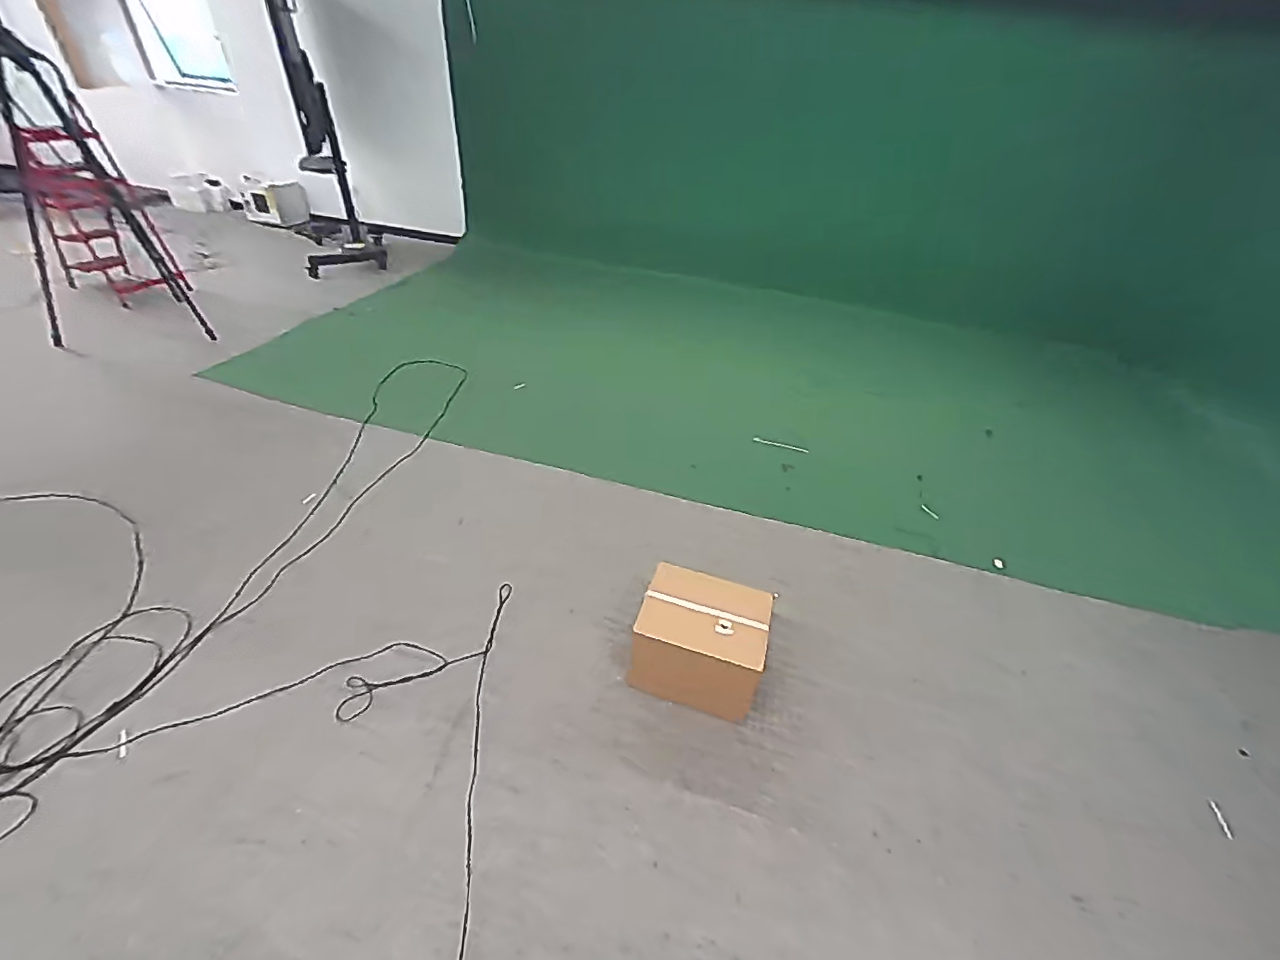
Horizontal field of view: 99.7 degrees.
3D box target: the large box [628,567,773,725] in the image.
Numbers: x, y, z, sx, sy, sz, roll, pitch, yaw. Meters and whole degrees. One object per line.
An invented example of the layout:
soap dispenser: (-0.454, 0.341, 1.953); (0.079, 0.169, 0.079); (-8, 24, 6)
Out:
large box: (0.199, 0.550, 1.814); (0.408, 0.320, 0.320); (15, 39, 11)
